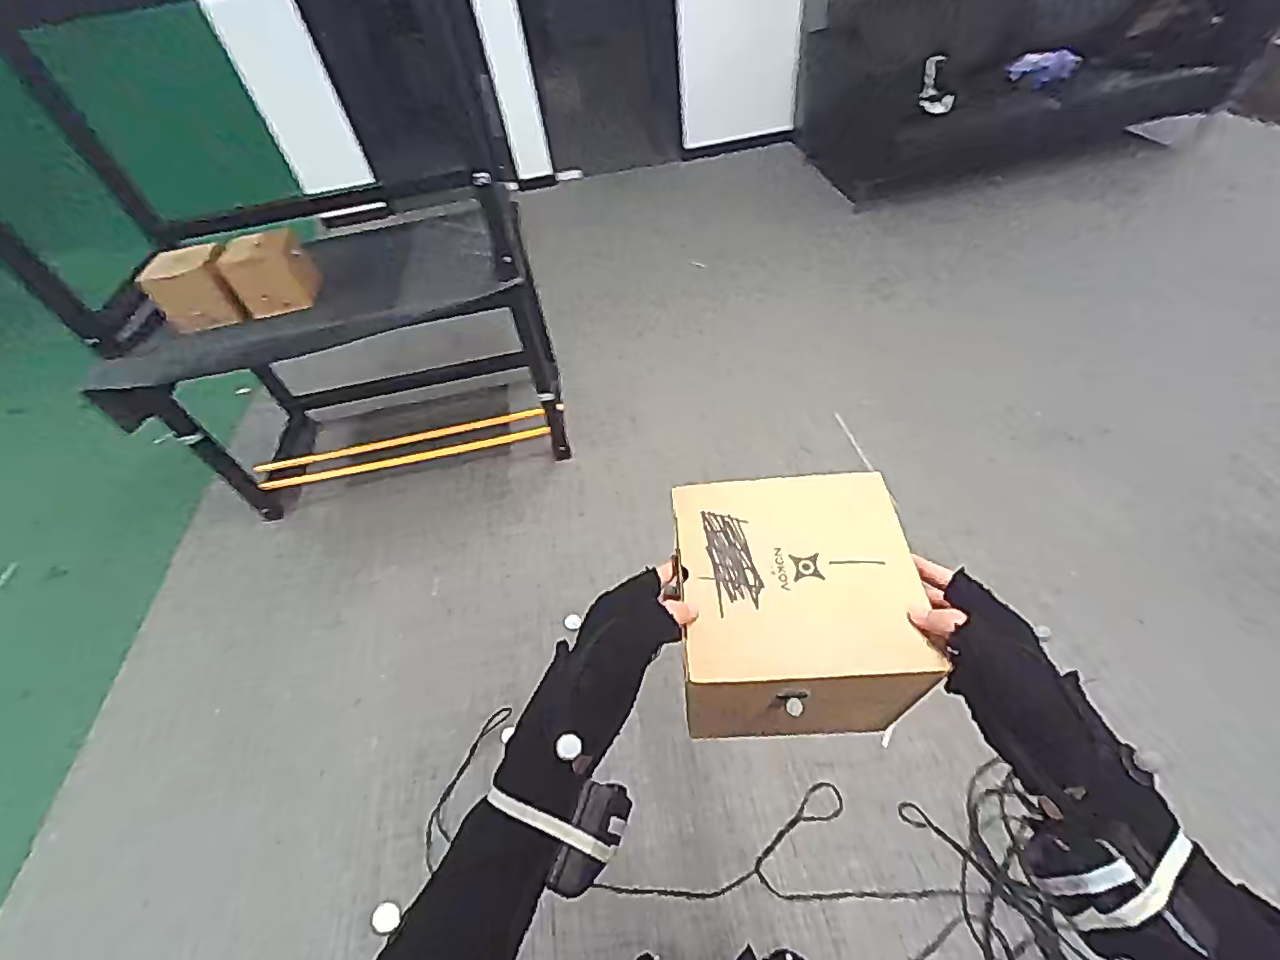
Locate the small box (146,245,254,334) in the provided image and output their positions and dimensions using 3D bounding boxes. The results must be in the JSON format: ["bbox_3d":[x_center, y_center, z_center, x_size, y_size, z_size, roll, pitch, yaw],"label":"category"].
[{"bbox_3d":[-1.254,-0.549,1.565,0.168,0.176,0.179,-14,48,-4],"label":"small box"}]

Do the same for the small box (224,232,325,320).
[{"bbox_3d":[-1.056,-0.596,1.581,0.168,0.176,0.179,-14,48,-3],"label":"small box"}]
